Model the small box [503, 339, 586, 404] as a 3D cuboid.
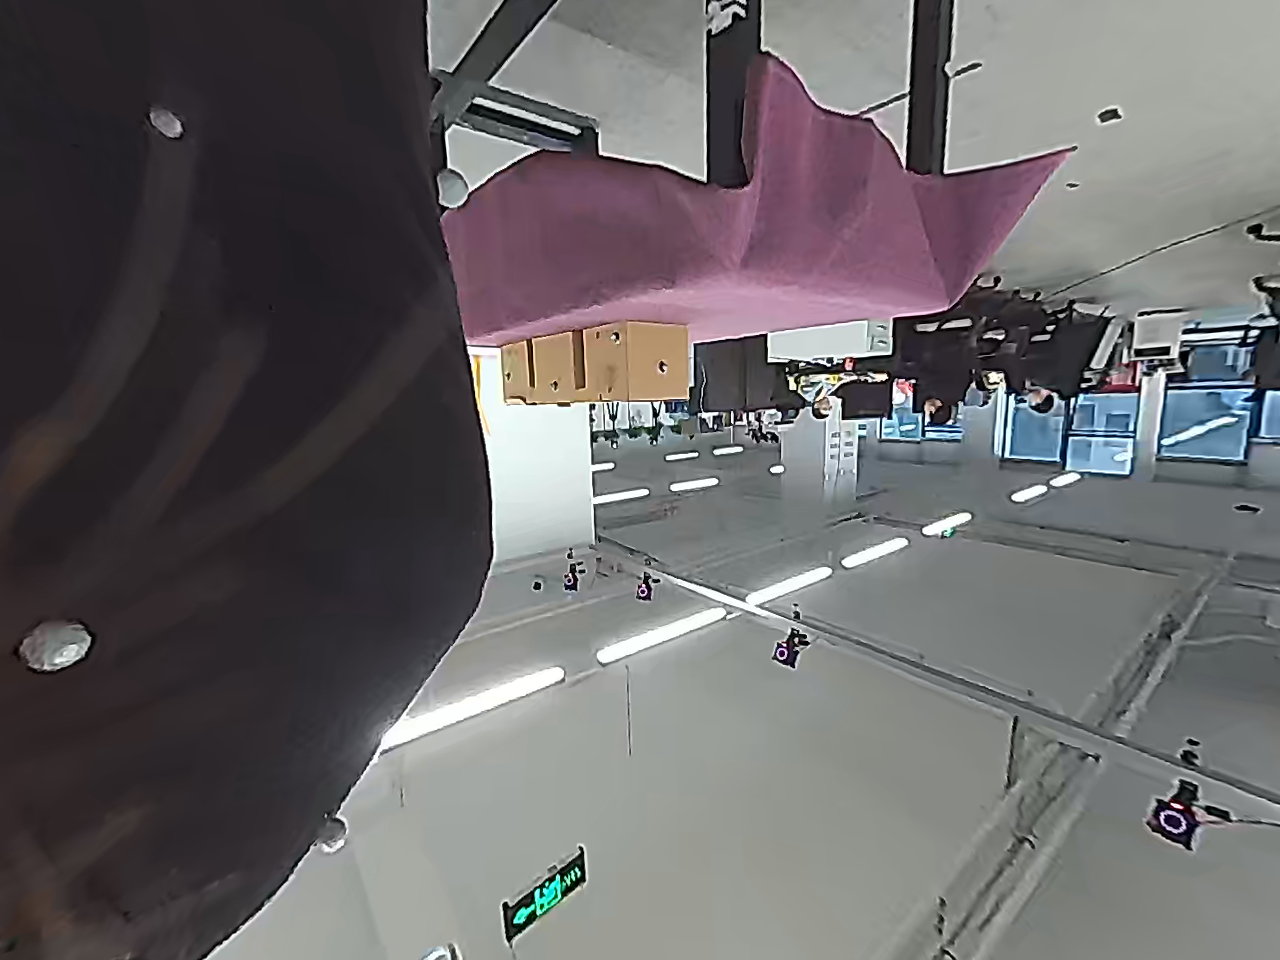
[{"bbox_3d":[-0.274,-0.304,1.531,0.179,0.176,0.168,-11,-167,-38],"label":"small box"}]
